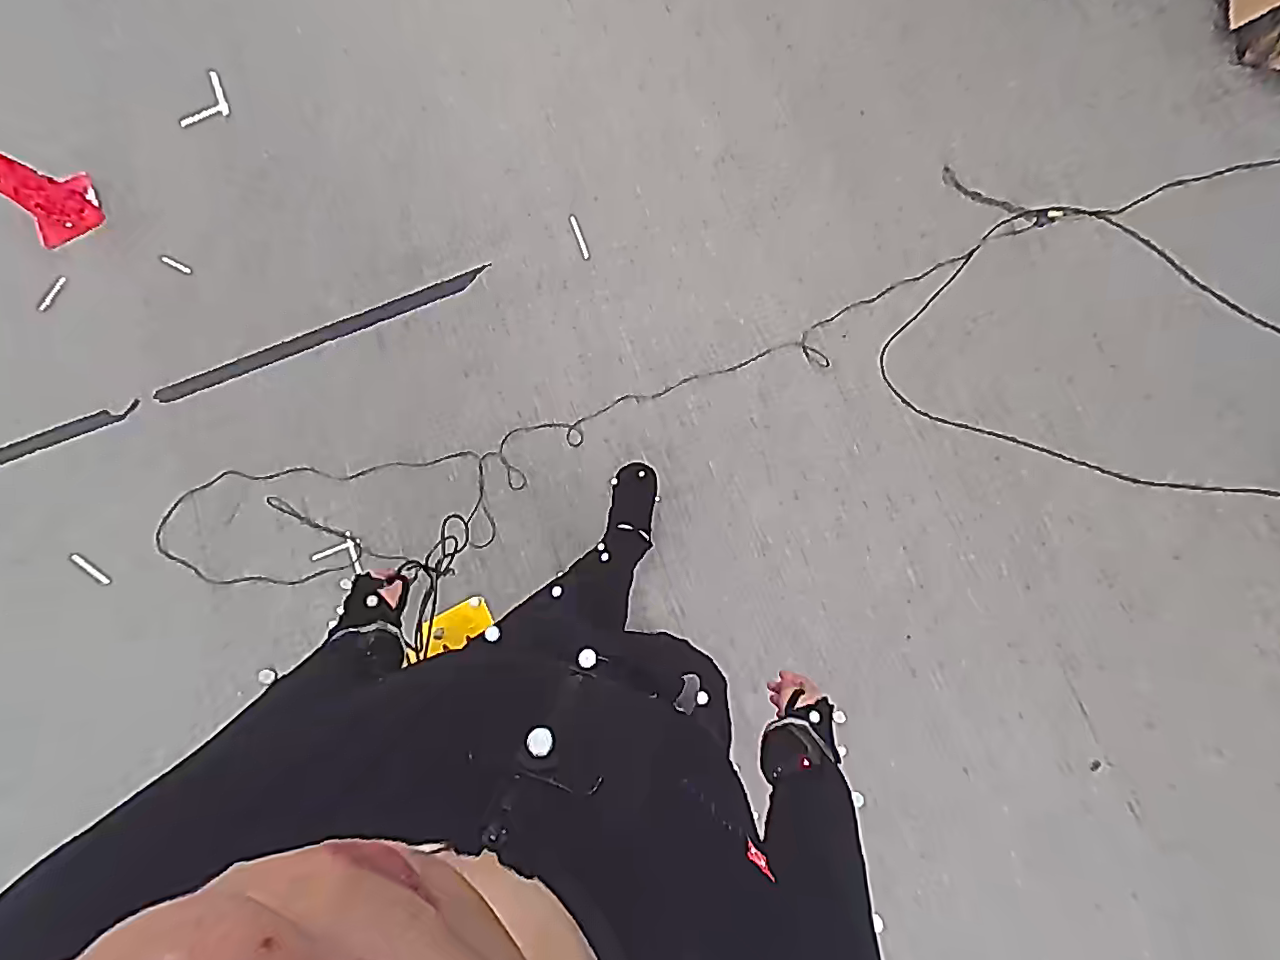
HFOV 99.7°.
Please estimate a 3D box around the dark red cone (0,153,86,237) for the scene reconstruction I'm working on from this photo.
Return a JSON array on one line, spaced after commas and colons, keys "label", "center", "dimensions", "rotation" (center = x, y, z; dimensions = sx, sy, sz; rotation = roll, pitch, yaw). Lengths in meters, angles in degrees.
[{"label": "dark red cone", "center": [-1.774, -0.857, 1.450], "dimensions": [0.202, 0.394, 0.201], "rotation": [-28, 81, -1]}]
